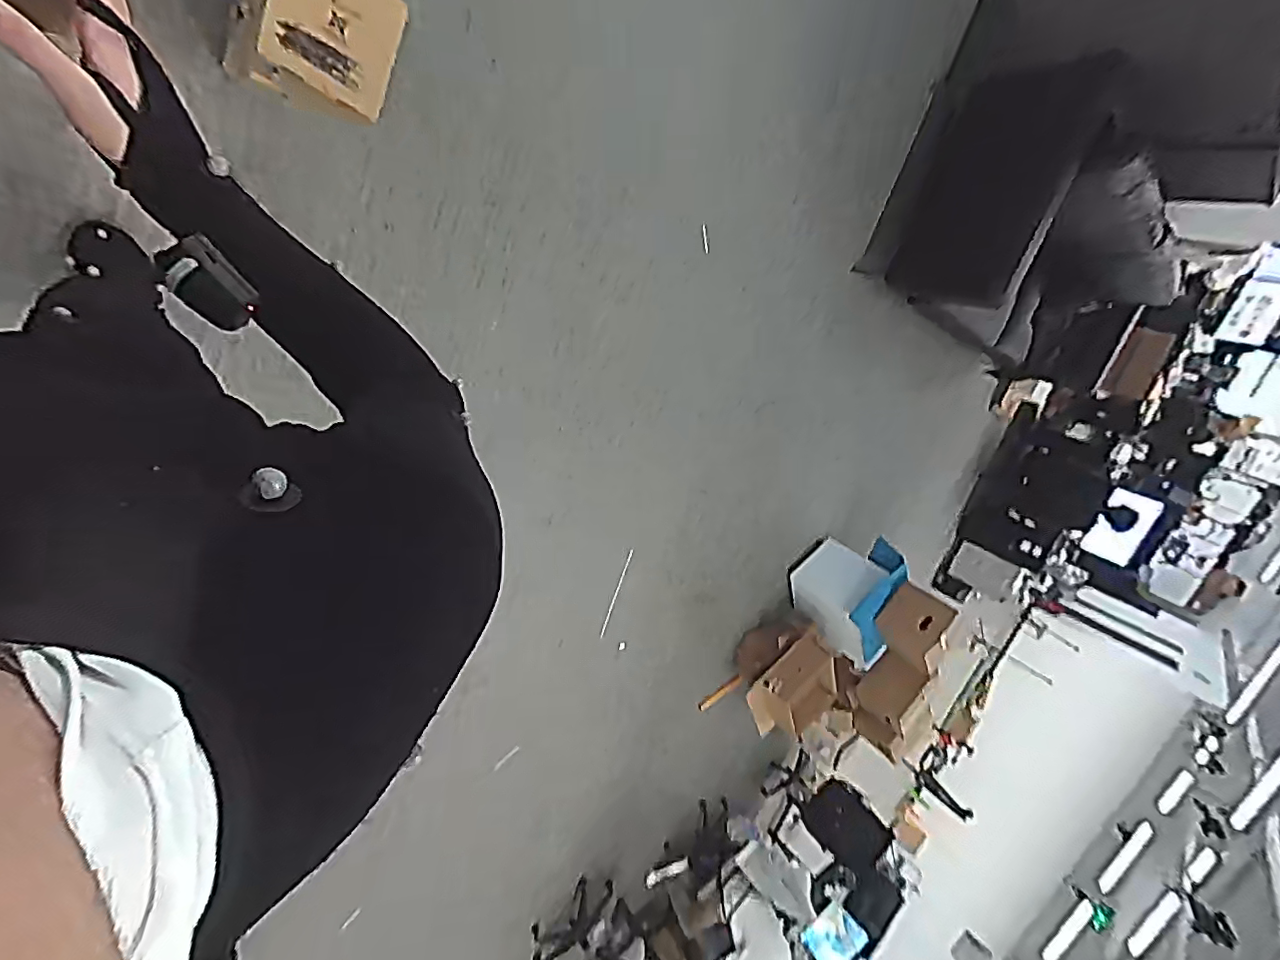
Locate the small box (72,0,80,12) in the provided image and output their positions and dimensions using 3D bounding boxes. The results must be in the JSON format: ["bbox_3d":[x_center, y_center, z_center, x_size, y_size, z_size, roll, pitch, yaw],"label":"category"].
[{"bbox_3d":[-0.966,-0.845,0.815,0.179,0.176,0.168,9,108,-45],"label":"small box"}]

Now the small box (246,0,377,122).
[{"bbox_3d":[-0.587,-0.764,0.958,0.168,0.176,0.179,3,112,-42],"label":"small box"}]

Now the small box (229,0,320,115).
[{"bbox_3d":[-0.683,-0.845,1.060,0.179,0.176,0.168,7,110,-44],"label":"small box"}]
